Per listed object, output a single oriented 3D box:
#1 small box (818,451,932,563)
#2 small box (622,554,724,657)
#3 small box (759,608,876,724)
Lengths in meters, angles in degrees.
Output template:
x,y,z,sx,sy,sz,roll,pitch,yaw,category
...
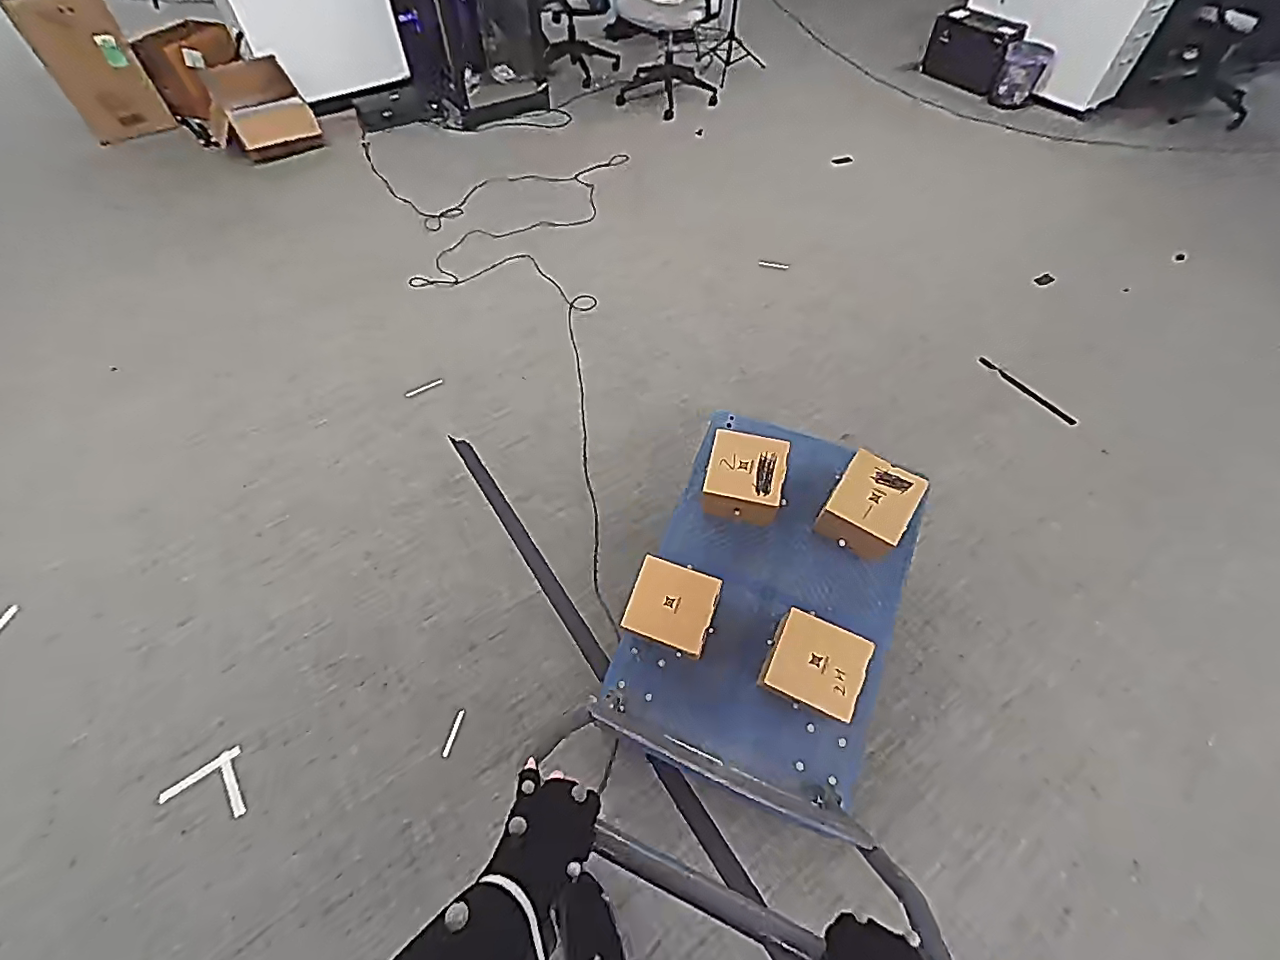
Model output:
x,y,z,sx,sy,sz,roll,pitch,yaw,category
0.535,0.068,1.258,0.168,0.176,0.179,31,76,17,small box
0.077,0.289,1.219,0.179,0.176,0.168,19,71,11,small box
0.365,0.395,1.144,0.179,0.176,0.168,24,73,15,small box
